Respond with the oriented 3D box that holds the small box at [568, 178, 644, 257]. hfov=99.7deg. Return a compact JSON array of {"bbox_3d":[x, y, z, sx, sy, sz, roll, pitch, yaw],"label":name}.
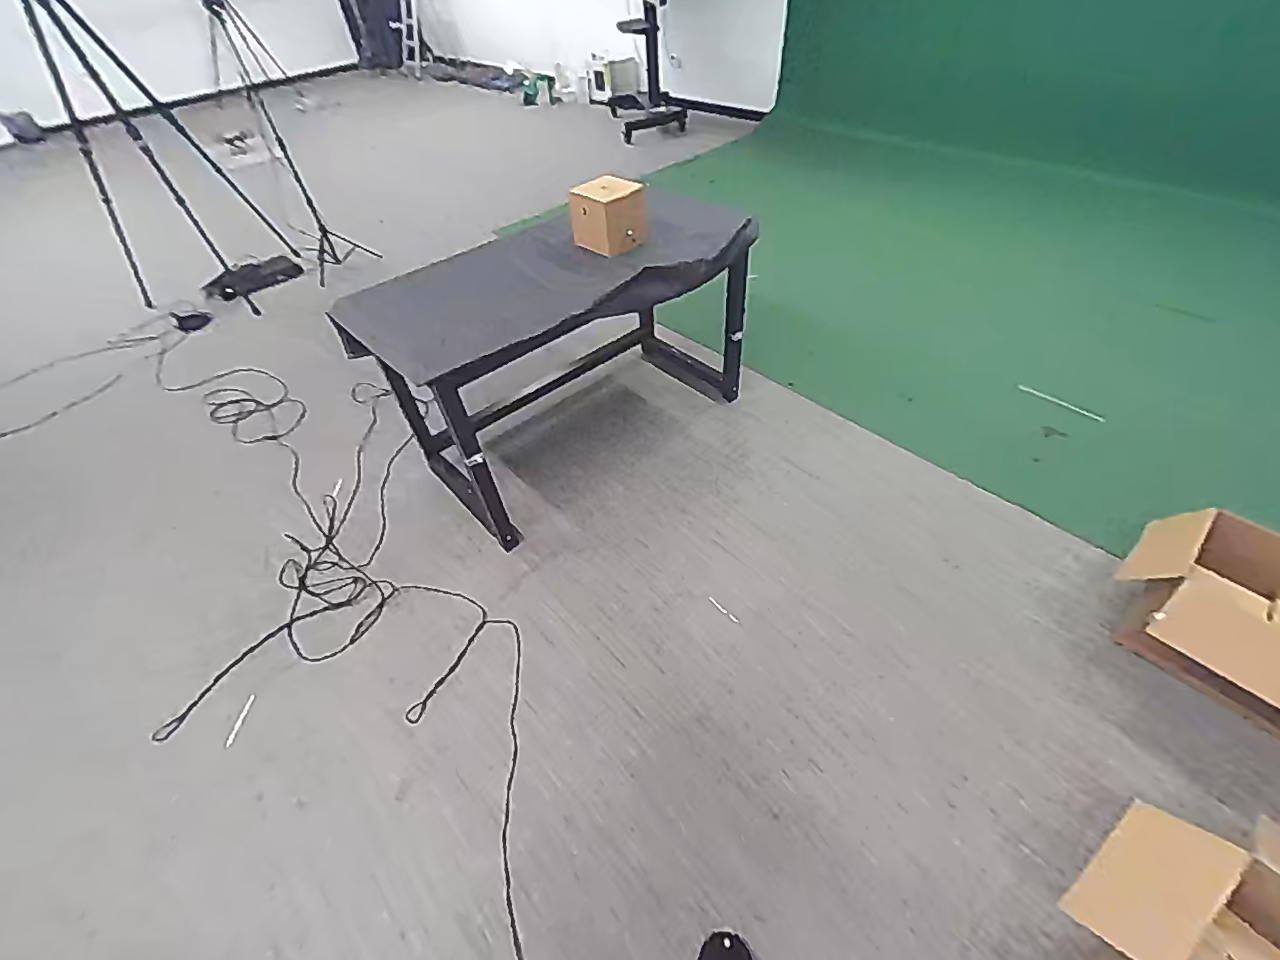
[{"bbox_3d":[-0.104,-0.830,1.712,0.168,0.176,0.179,-37,54,-26],"label":"small box"}]
